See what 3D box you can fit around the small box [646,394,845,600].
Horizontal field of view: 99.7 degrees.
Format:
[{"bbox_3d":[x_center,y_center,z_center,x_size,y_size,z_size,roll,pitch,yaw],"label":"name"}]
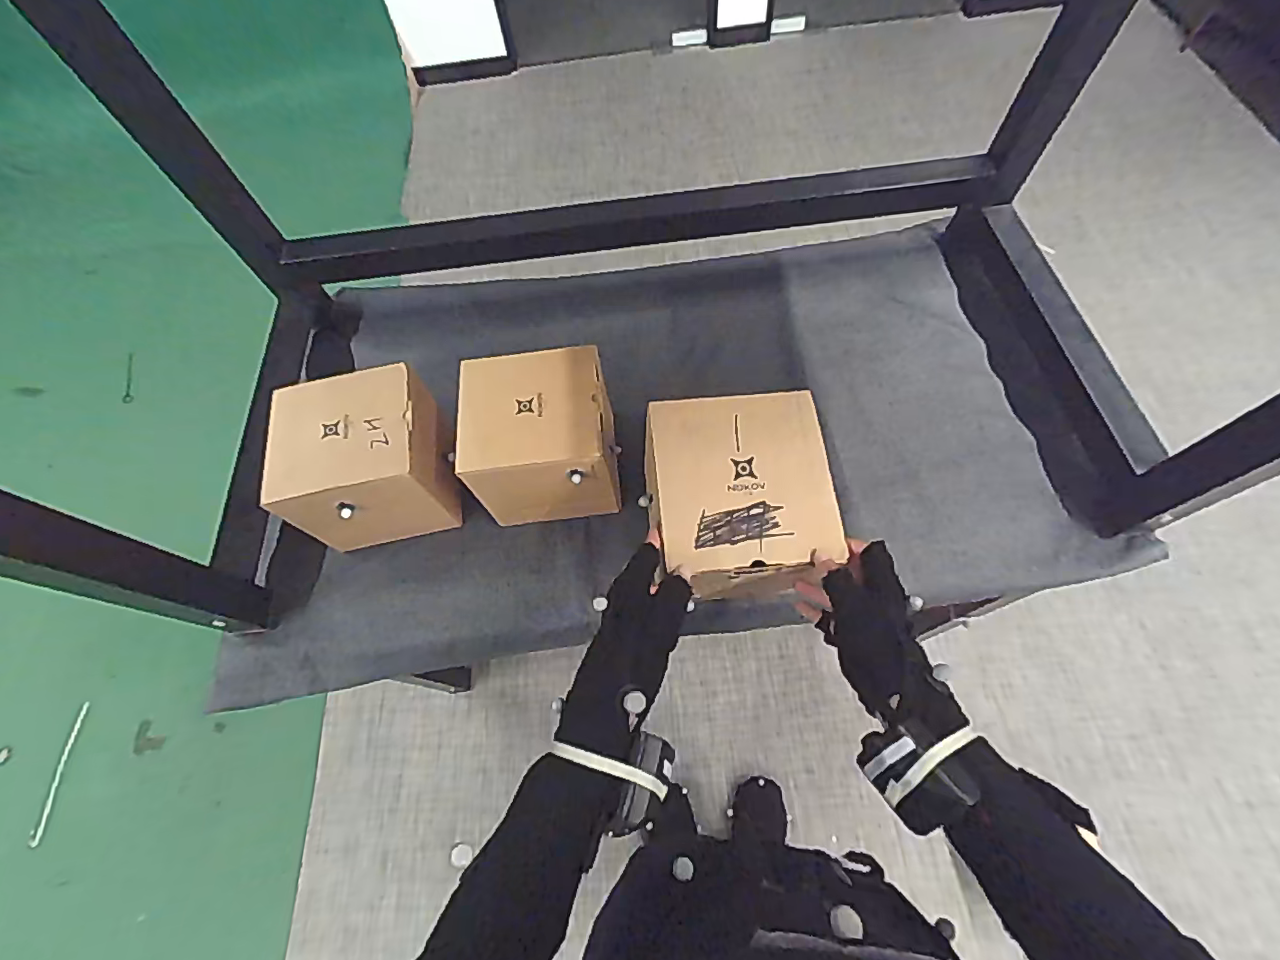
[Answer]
[{"bbox_3d":[0.094,0.030,0.575,0.168,0.176,0.179,-4,69,-2],"label":"small box"}]
